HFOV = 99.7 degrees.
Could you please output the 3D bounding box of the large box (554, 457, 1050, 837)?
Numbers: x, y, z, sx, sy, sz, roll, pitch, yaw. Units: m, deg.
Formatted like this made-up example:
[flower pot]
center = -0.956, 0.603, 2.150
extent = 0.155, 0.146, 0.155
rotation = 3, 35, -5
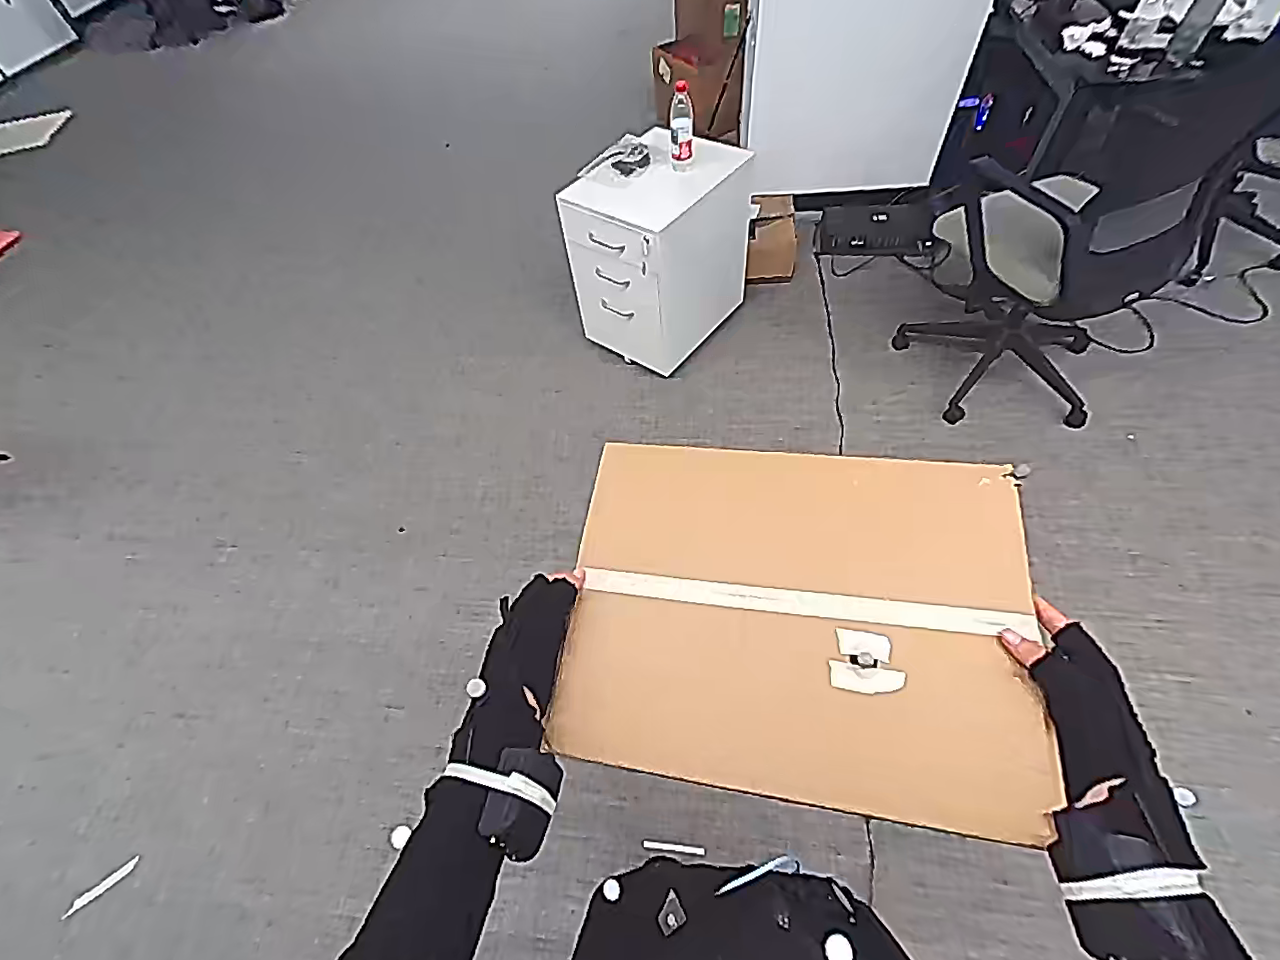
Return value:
[large box]
center = 0.159, 0.188, 0.638
extent = 0.408, 0.320, 0.320
rotation = 4, 64, 13
